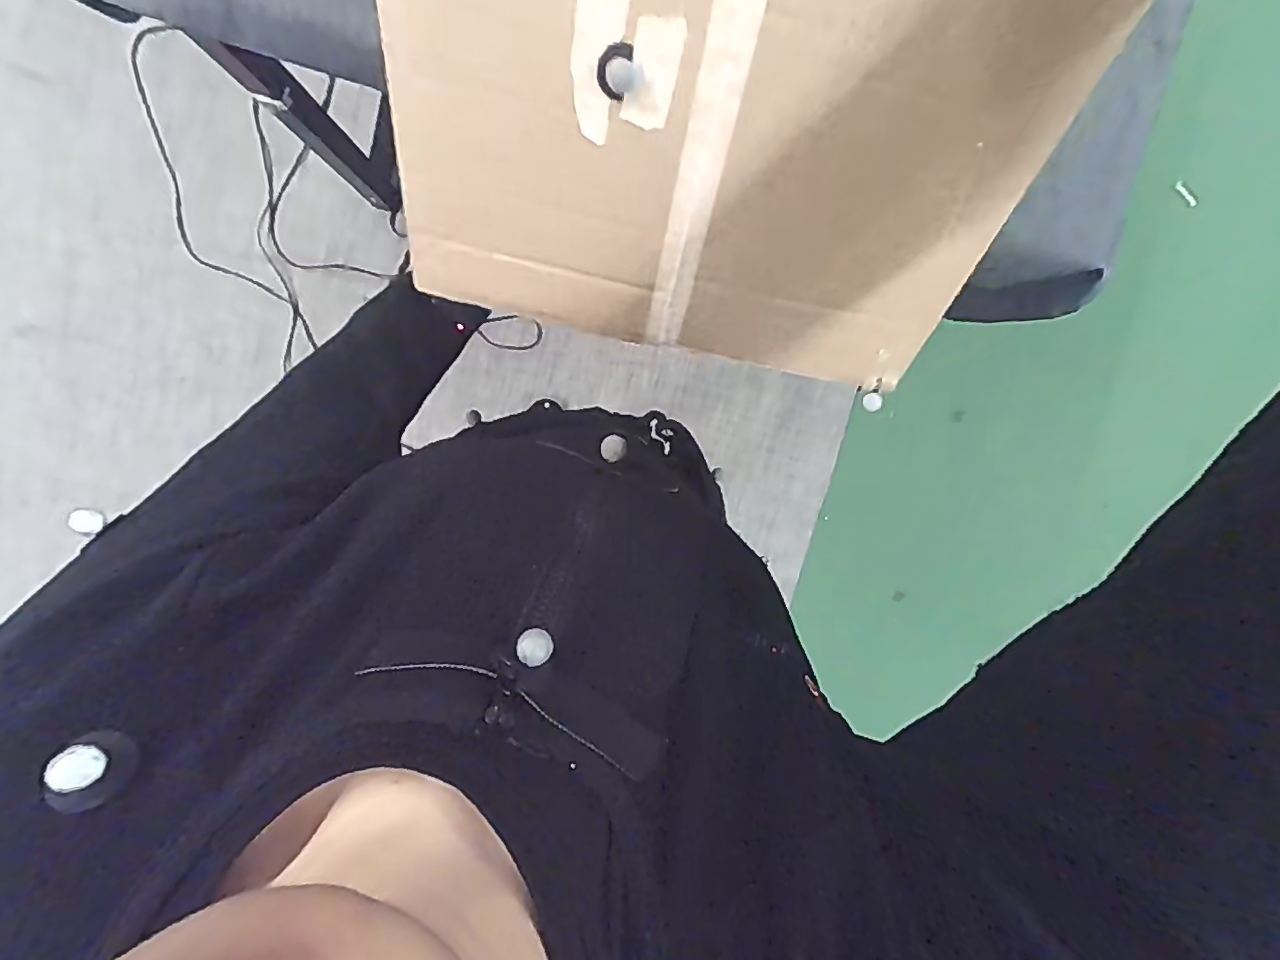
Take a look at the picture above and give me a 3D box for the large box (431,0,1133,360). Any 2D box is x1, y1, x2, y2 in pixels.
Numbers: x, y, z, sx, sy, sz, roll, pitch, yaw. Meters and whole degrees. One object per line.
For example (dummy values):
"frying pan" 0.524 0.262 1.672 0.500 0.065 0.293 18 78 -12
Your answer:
"large box" 0.074 -0.346 0.314 0.320 0.320 0.408 11 138 -3
